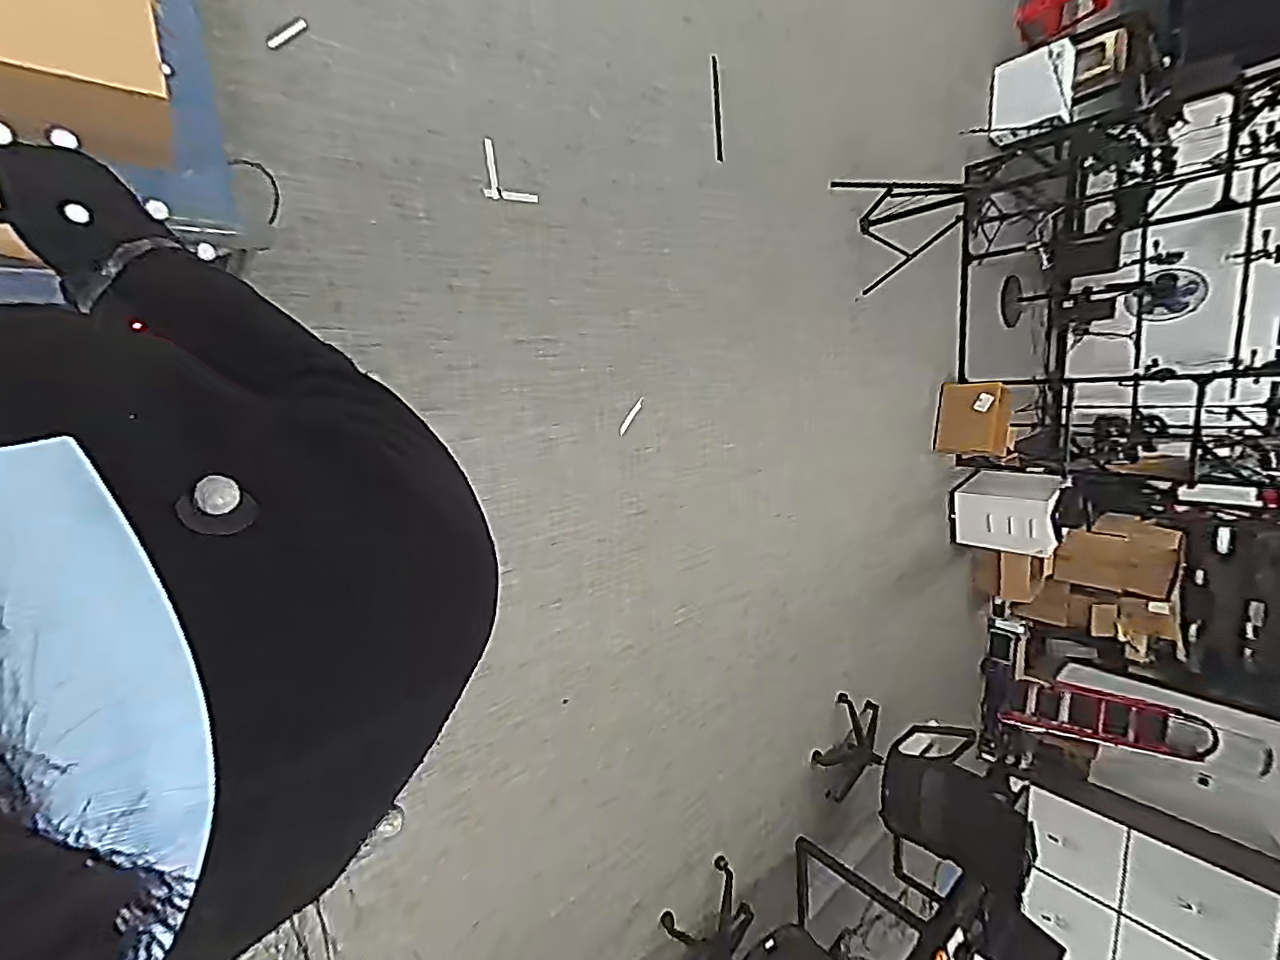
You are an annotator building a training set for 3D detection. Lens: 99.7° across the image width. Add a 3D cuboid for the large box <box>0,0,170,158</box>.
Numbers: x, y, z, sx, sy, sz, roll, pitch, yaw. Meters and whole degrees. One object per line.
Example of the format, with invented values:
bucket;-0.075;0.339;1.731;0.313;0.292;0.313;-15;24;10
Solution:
large box;-0.930;-0.682;0.729;0.408;0.320;0.320;-11;102;-38
